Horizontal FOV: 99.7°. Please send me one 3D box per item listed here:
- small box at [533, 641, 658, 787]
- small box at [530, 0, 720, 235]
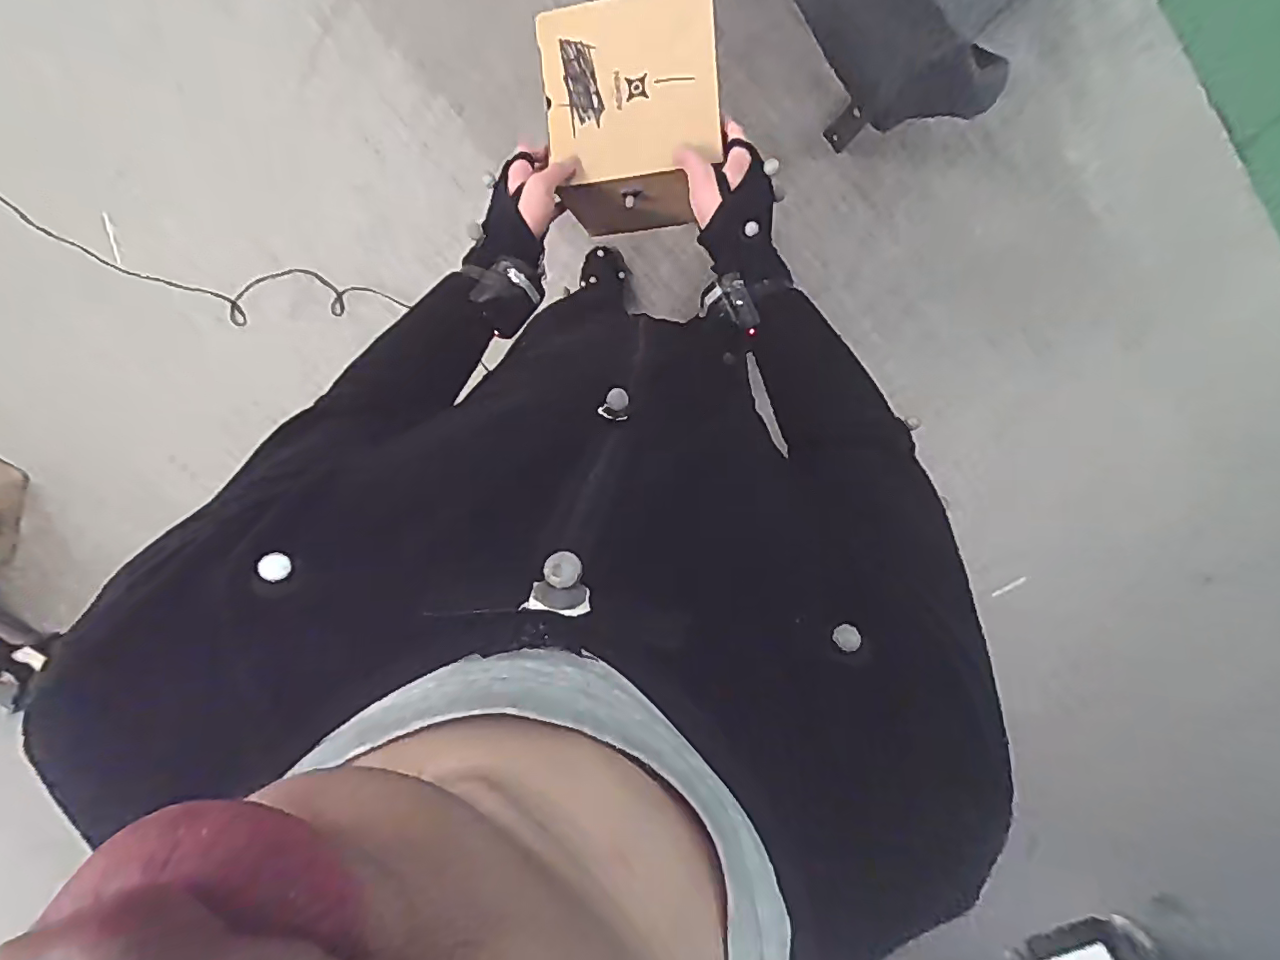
[{"bbox_3d":[-0.078,0.463,1.086,0.179,0.176,0.168,-37,103,18],"label":"small box"},{"bbox_3d":[-0.004,-0.389,0.601,0.179,0.176,0.168,-4,97,9],"label":"small box"}]
